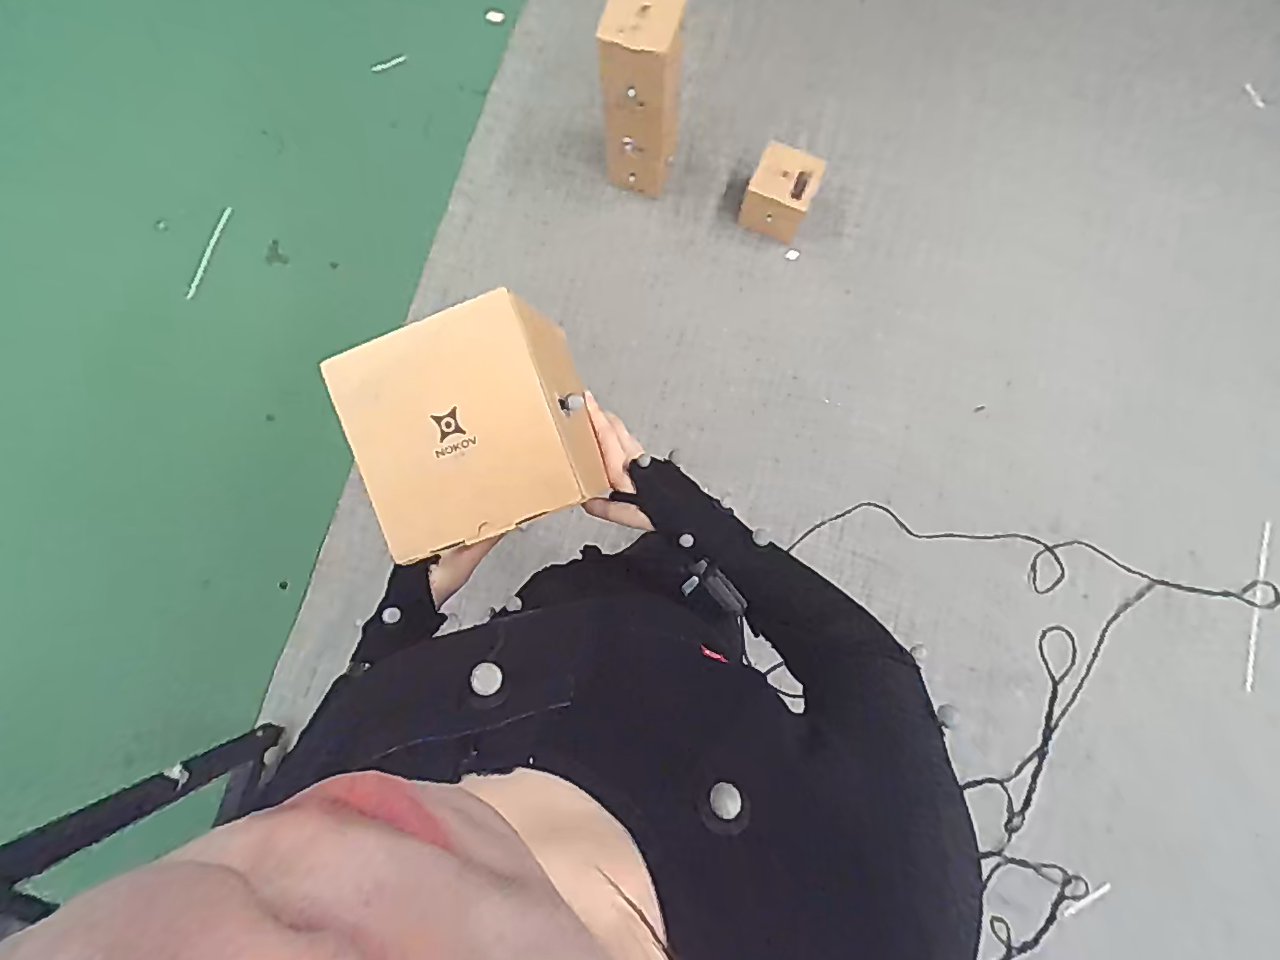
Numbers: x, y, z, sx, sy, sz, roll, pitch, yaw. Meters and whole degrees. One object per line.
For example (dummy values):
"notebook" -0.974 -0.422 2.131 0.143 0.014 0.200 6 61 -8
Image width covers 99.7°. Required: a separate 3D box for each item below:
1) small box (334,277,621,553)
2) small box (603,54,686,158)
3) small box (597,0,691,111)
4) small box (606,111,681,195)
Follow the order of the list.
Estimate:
"small box" -0.128 -0.053 0.495 0.168 0.176 0.179 -19 93 8
"small box" 0.013 -0.992 1.412 0.168 0.176 0.179 17 84 5
"small box" 0.011 -1.009 1.247 0.168 0.176 0.179 17 83 5
"small box" 0.014 -0.974 1.573 0.168 0.176 0.179 21 84 4
